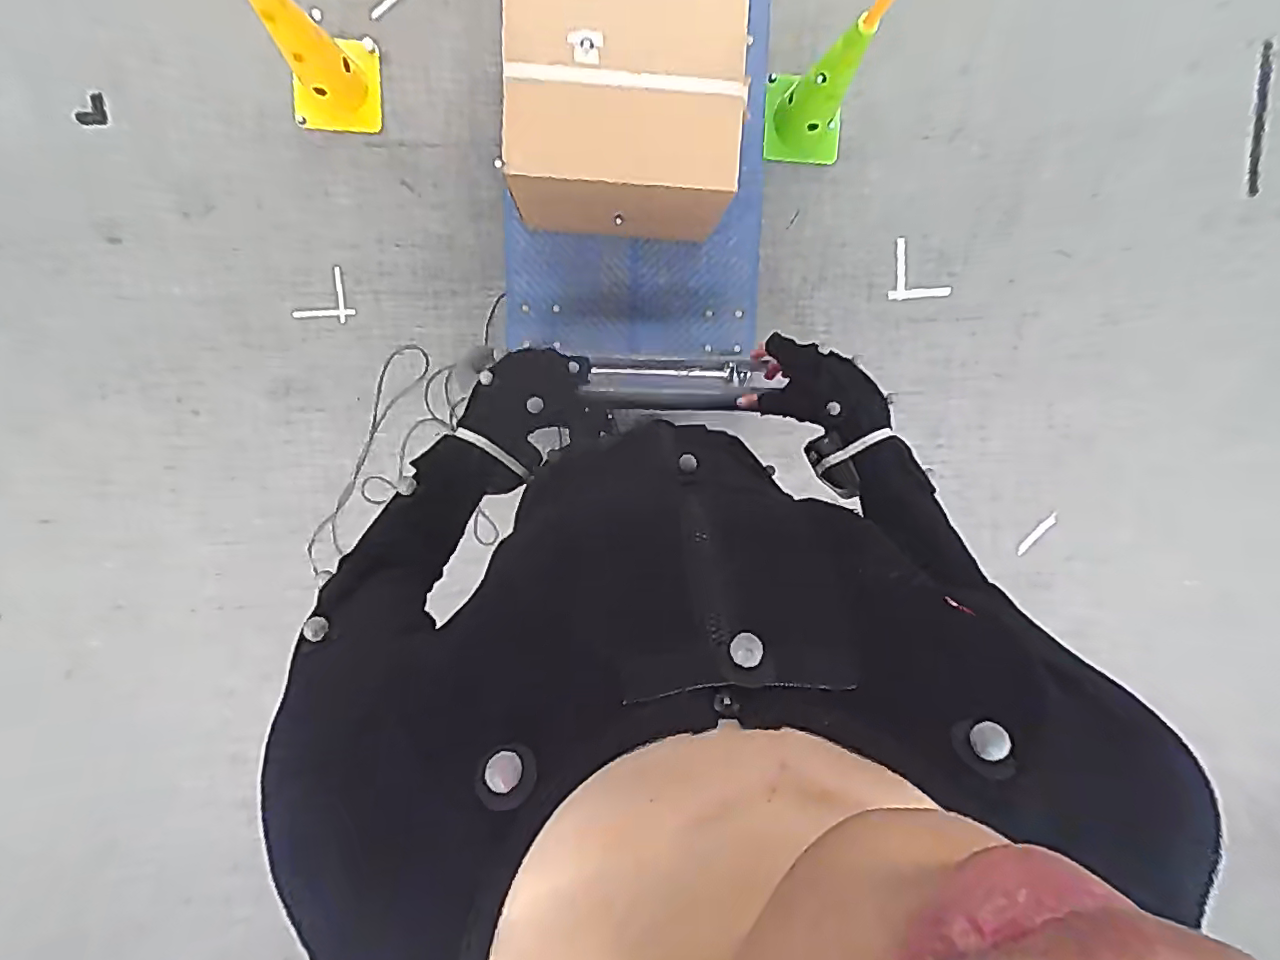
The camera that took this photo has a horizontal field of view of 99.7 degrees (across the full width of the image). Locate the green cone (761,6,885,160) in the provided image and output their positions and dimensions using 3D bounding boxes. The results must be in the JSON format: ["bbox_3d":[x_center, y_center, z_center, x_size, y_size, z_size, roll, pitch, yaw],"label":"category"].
[{"bbox_3d":[0.424,-0.897,1.197,0.202,0.368,0.200,1,98,-6],"label":"green cone"}]

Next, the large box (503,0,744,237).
[{"bbox_3d":[-0.035,-0.681,1.051,0.408,0.320,0.320,2,98,-4],"label":"large box"}]
